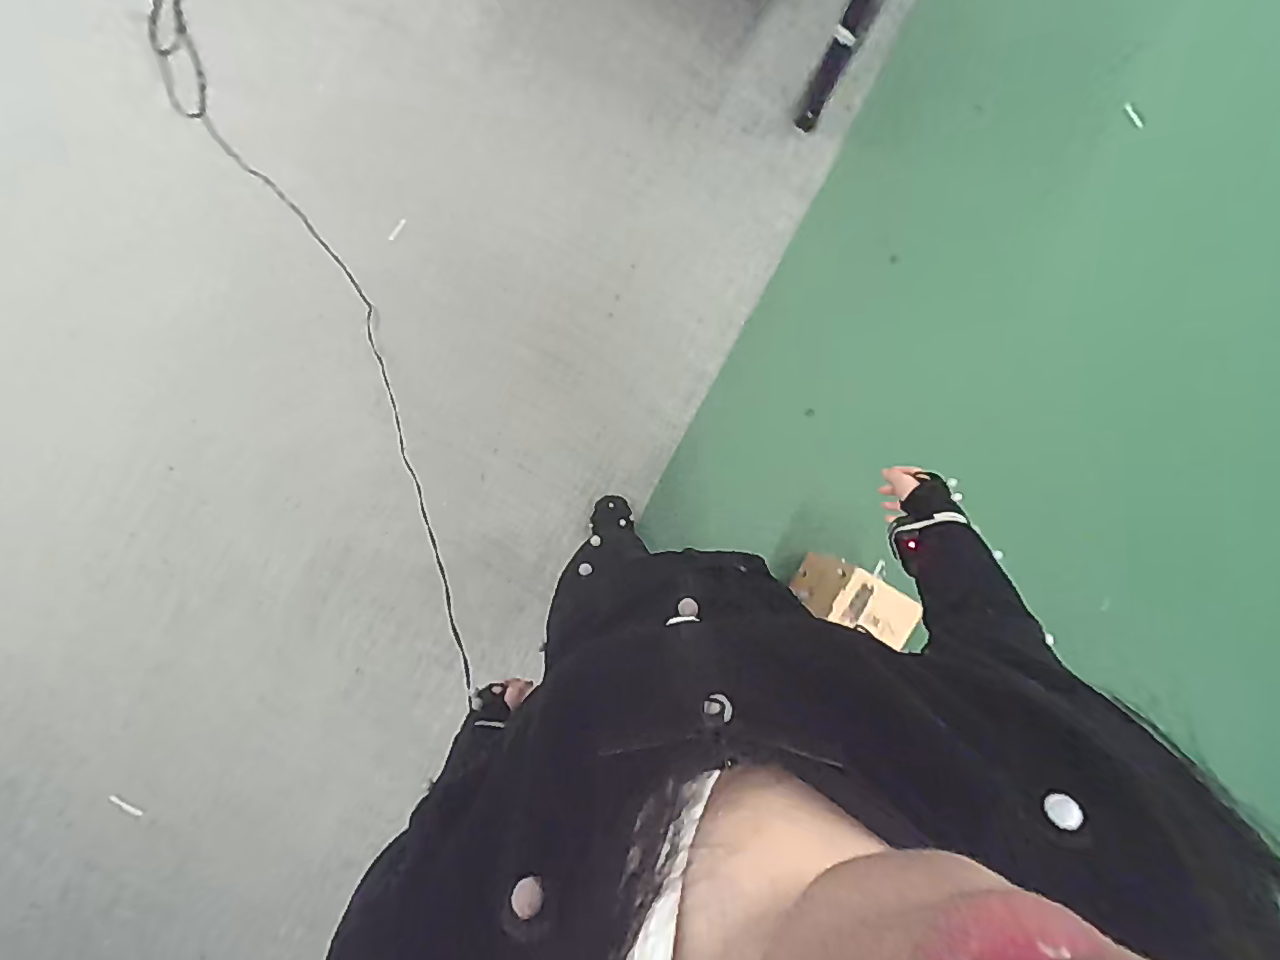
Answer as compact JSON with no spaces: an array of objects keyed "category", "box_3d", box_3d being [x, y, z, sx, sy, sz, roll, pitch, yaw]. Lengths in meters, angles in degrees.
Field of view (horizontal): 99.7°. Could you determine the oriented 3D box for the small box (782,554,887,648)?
[{"category":"small box","box_3d":[0.505,0.310,1.429,0.179,0.176,0.168,32,89,1]}]
